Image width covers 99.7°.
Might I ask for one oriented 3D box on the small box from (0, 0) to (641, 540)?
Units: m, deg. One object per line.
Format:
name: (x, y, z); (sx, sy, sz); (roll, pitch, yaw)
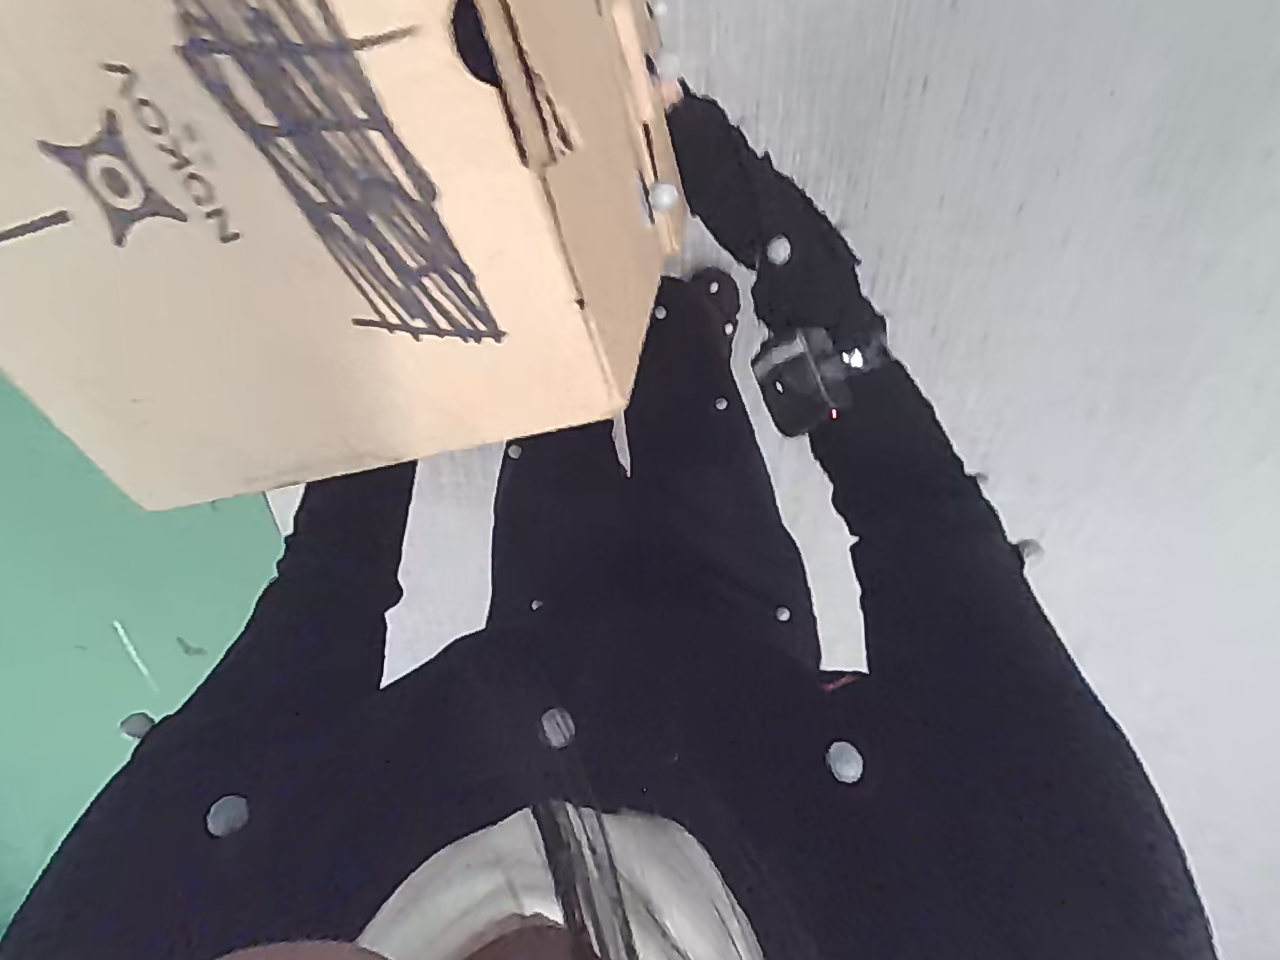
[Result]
small box: (-0.104, -0.109, 0.183); (0.179, 0.176, 0.168); (-13, 124, 15)

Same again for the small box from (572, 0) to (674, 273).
small box: (-0.082, -0.206, 0.315); (0.179, 0.176, 0.168); (-10, 124, 15)
